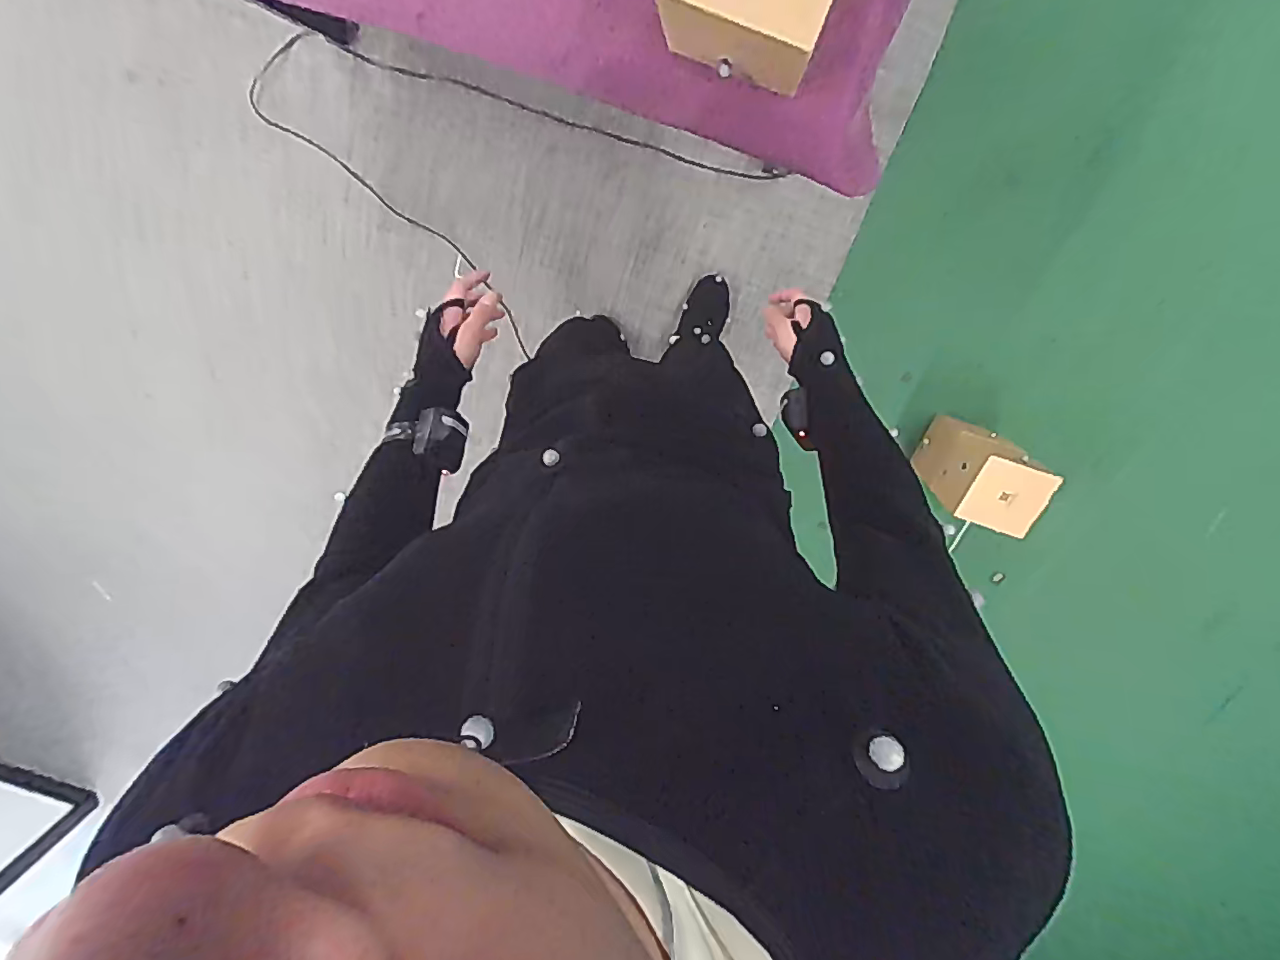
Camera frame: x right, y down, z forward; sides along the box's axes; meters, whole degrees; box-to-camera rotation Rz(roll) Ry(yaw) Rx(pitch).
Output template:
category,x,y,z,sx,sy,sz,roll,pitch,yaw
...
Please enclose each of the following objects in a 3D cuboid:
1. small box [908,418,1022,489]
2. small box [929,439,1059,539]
category,x,y,z,sx,sy,sz,roll,pitch,yaw
small box,0.866,-0.053,1.460,0.179,0.176,0.168,19,114,1
small box,0.844,0.013,1.315,0.179,0.176,0.168,18,114,-1
